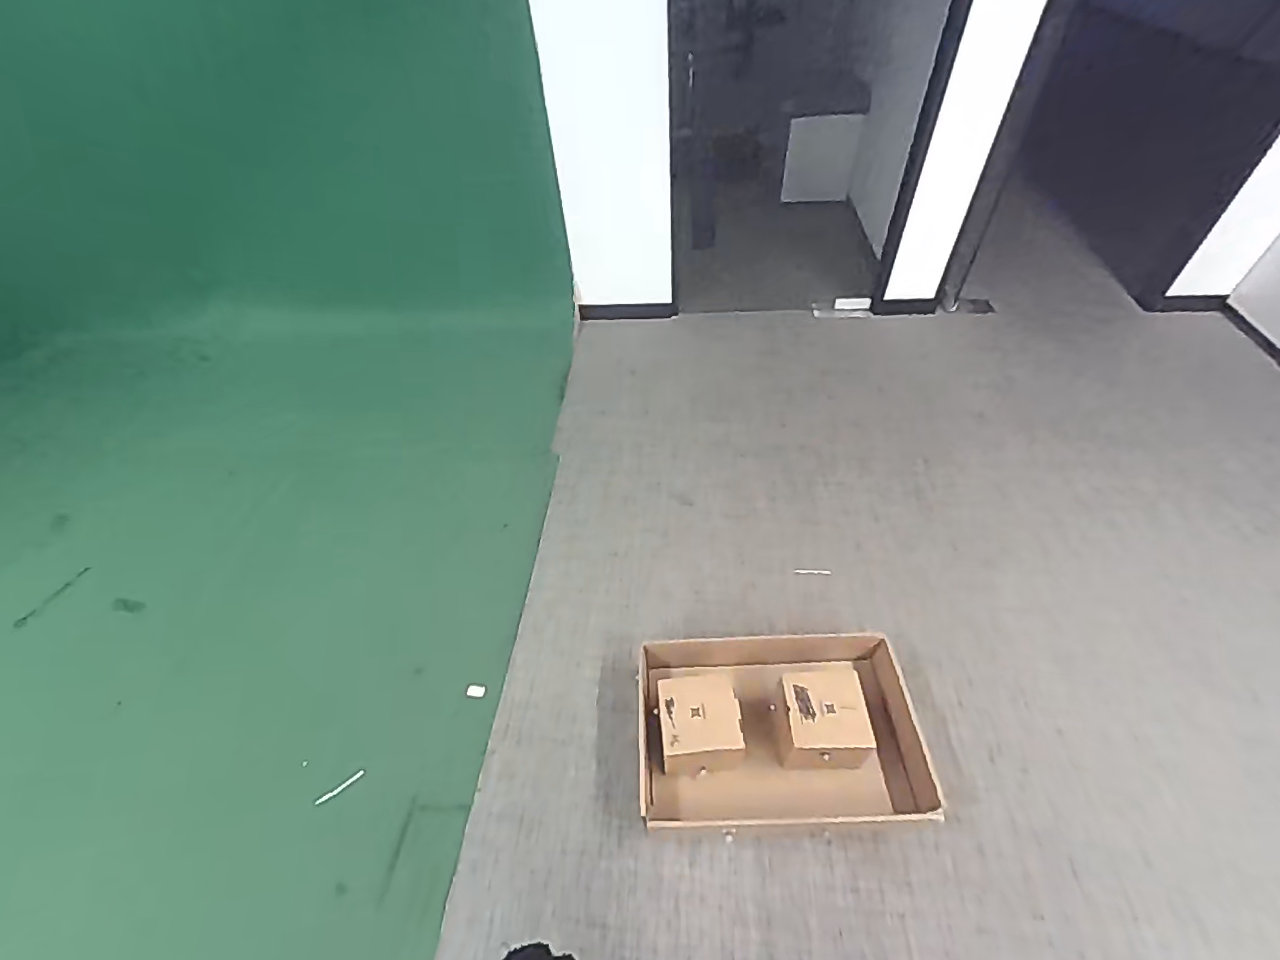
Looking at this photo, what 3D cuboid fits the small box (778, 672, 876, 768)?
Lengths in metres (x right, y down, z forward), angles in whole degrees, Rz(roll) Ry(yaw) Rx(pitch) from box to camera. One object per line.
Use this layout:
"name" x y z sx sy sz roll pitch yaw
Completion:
"small box" 0.421 0.559 1.255 0.179 0.176 0.168 -2 48 4

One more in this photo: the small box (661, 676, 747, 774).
"small box" 0.141 0.574 1.265 0.179 0.176 0.168 -4 47 -1
